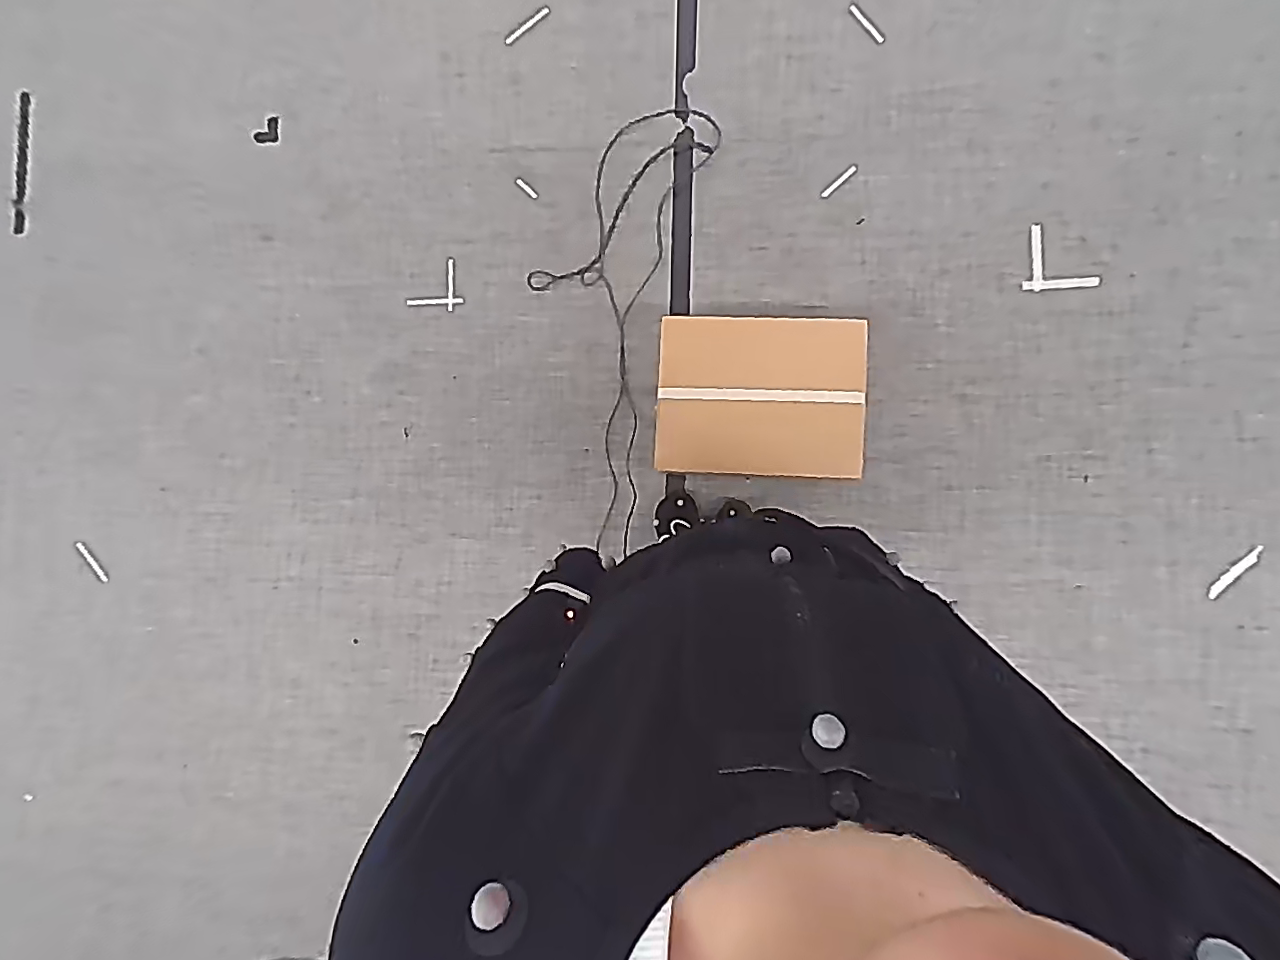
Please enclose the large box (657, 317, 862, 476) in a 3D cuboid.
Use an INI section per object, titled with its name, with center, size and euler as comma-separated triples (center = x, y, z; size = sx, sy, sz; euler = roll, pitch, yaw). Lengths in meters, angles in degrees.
[large box]
center = 0.246, -0.169, 1.225
size = 0.408, 0.320, 0.320
euler = 2, 91, 5
